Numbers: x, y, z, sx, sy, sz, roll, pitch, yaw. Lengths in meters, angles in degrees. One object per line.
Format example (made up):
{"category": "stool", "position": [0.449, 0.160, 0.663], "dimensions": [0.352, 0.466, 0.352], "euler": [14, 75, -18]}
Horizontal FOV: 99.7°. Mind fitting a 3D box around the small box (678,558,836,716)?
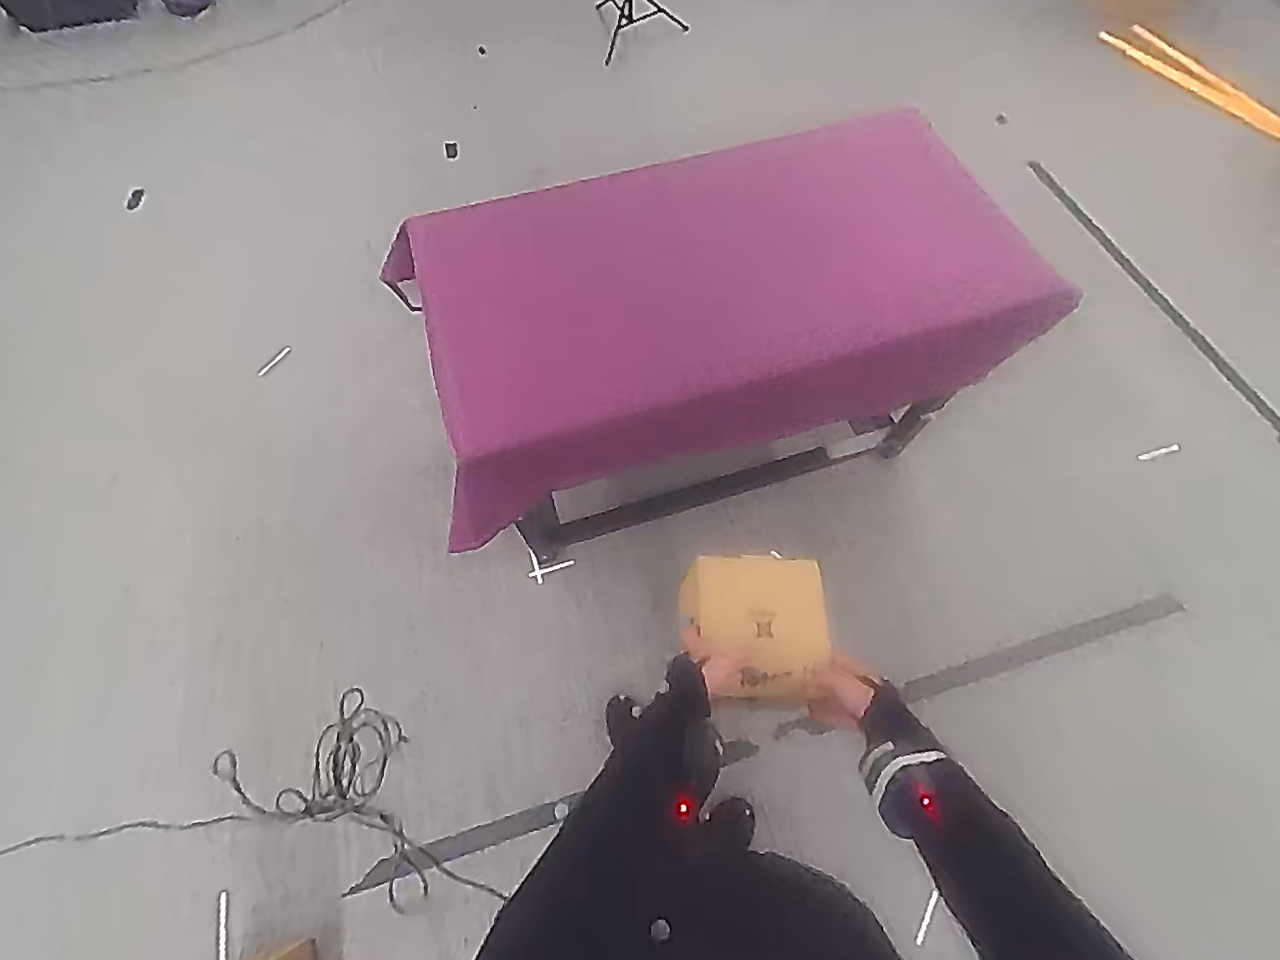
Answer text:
{"category": "small box", "position": [0.144, 0.219, 0.736], "dimensions": [0.168, 0.176, 0.179], "euler": [2, 63, -3]}
